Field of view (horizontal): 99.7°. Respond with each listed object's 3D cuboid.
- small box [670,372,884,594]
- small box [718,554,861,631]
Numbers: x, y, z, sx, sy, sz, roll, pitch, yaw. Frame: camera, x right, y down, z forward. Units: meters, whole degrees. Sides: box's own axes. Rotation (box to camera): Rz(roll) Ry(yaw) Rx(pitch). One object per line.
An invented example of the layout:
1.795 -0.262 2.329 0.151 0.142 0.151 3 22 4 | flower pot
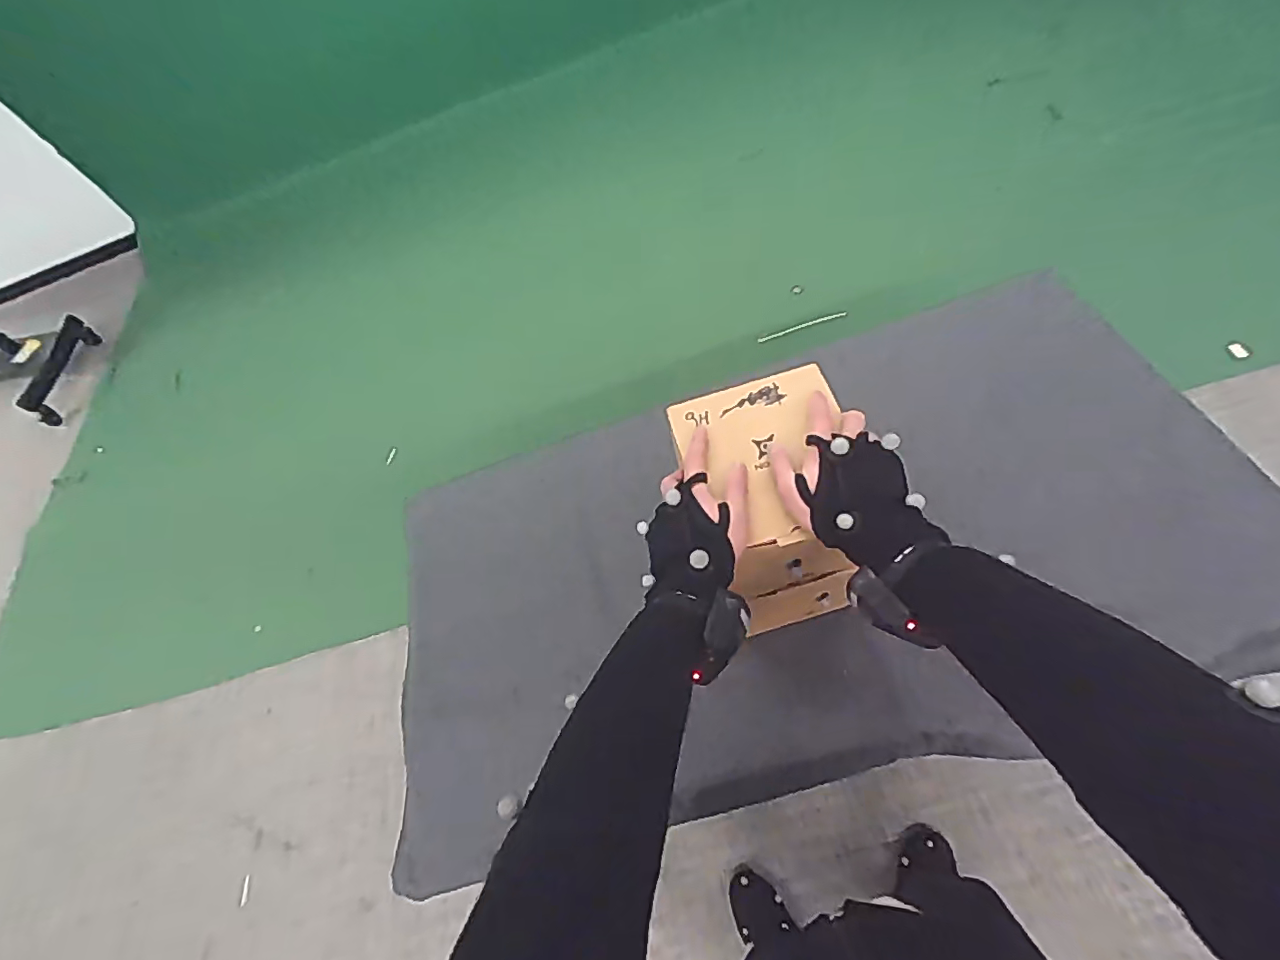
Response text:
0.140 0.016 0.600 0.168 0.176 0.179 -16 62 2 | small box
0.178 0.093 0.736 0.168 0.176 0.179 -18 58 3 | small box
